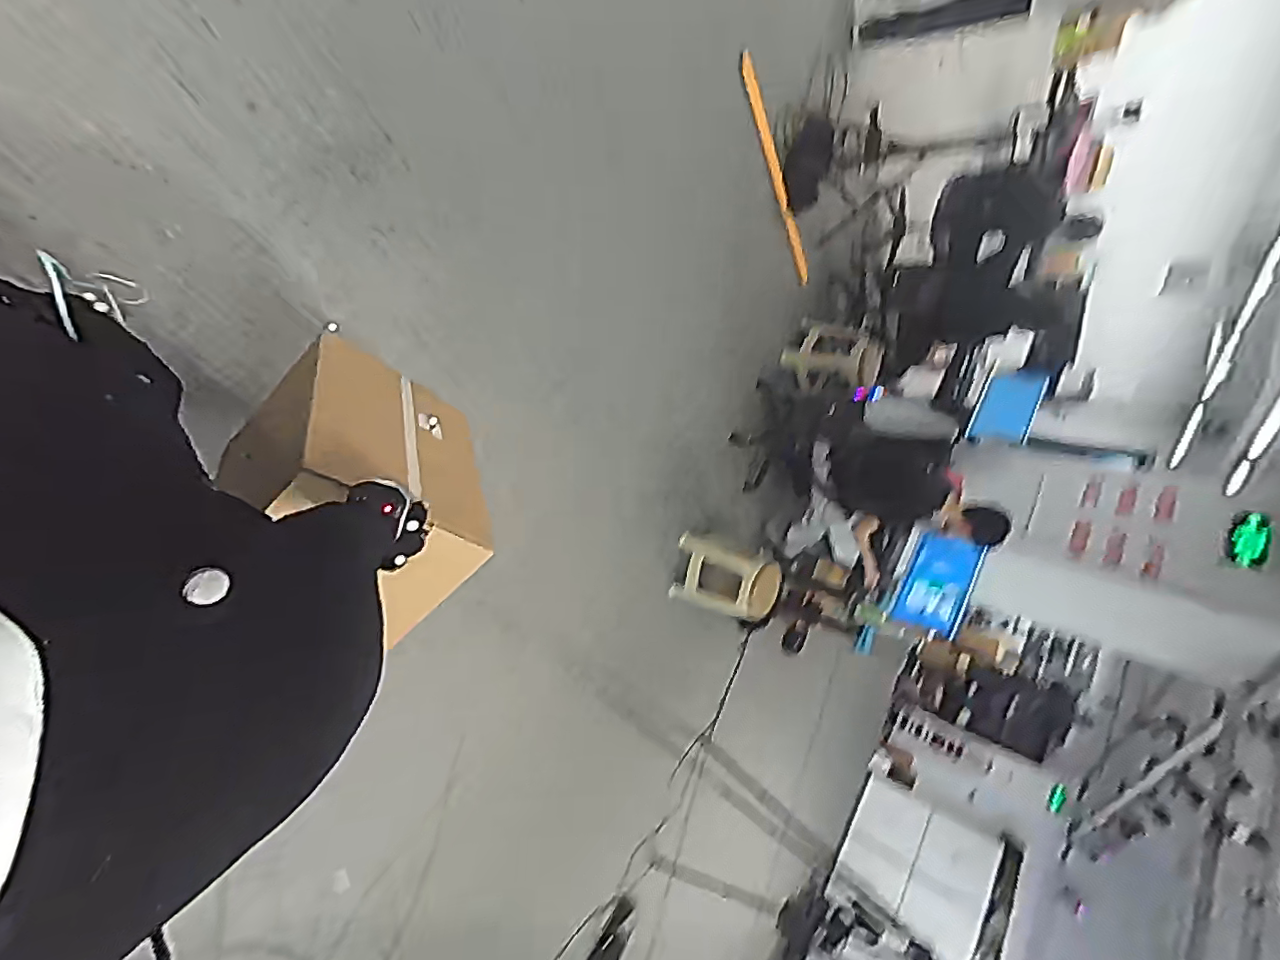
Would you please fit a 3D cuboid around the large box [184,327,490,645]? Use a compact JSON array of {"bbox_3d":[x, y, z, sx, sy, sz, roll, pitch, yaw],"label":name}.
[{"bbox_3d":[-0.513,0.016,0.951,0.320,0.408,0.320,-42,134,12],"label":"large box"}]
